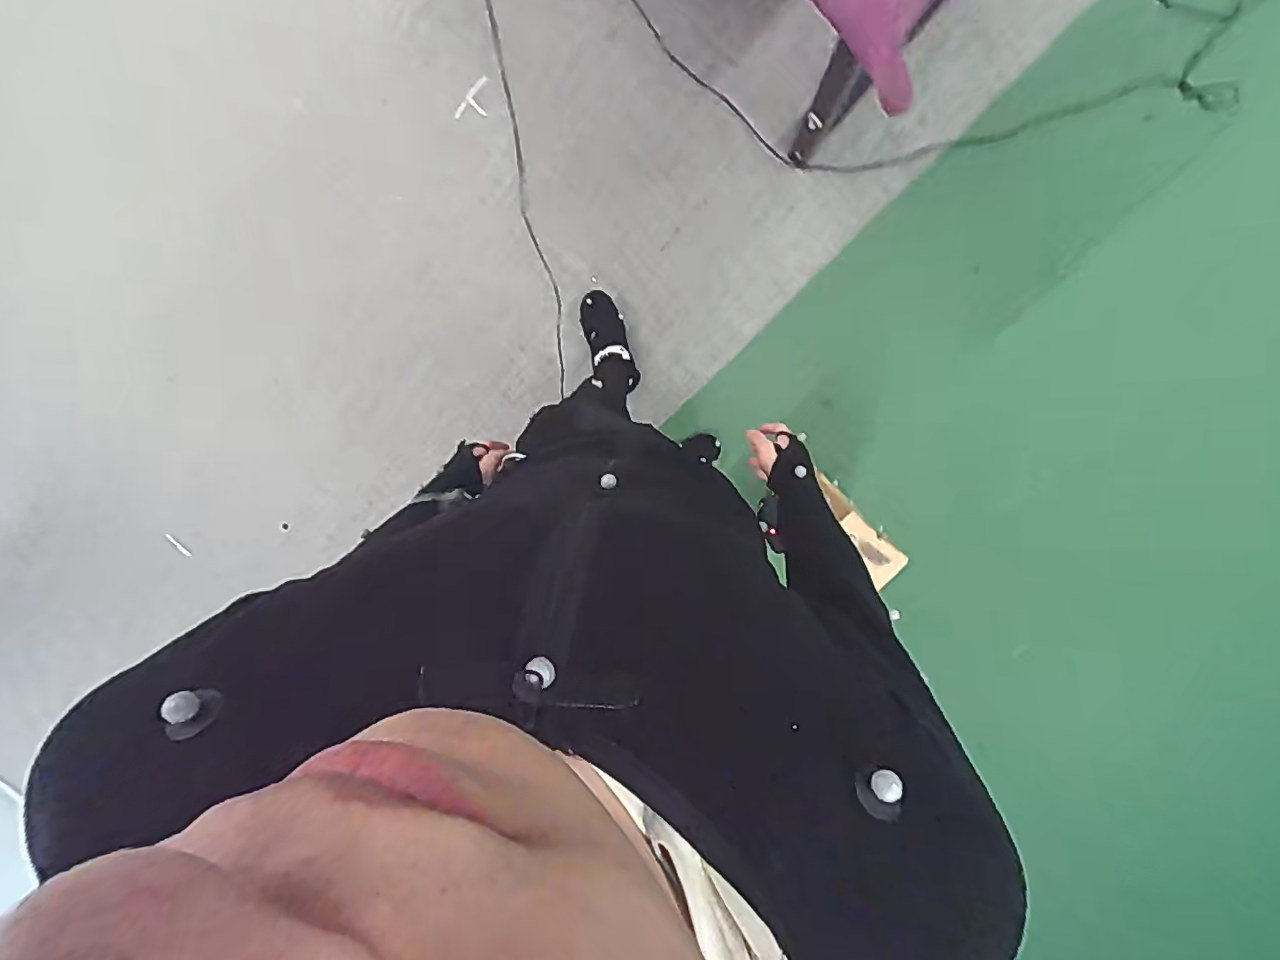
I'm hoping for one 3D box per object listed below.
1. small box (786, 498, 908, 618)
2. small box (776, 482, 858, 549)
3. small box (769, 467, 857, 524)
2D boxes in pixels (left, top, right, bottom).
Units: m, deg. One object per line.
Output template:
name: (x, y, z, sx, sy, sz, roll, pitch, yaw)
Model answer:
small box: (0.448, 0.165, 1.208, 0.168, 0.176, 0.179, 41, 104, -3)
small box: (0.462, 0.129, 1.368, 0.168, 0.176, 0.179, 43, 103, -4)
small box: (0.481, 0.087, 1.523, 0.168, 0.176, 0.179, 45, 103, -5)
